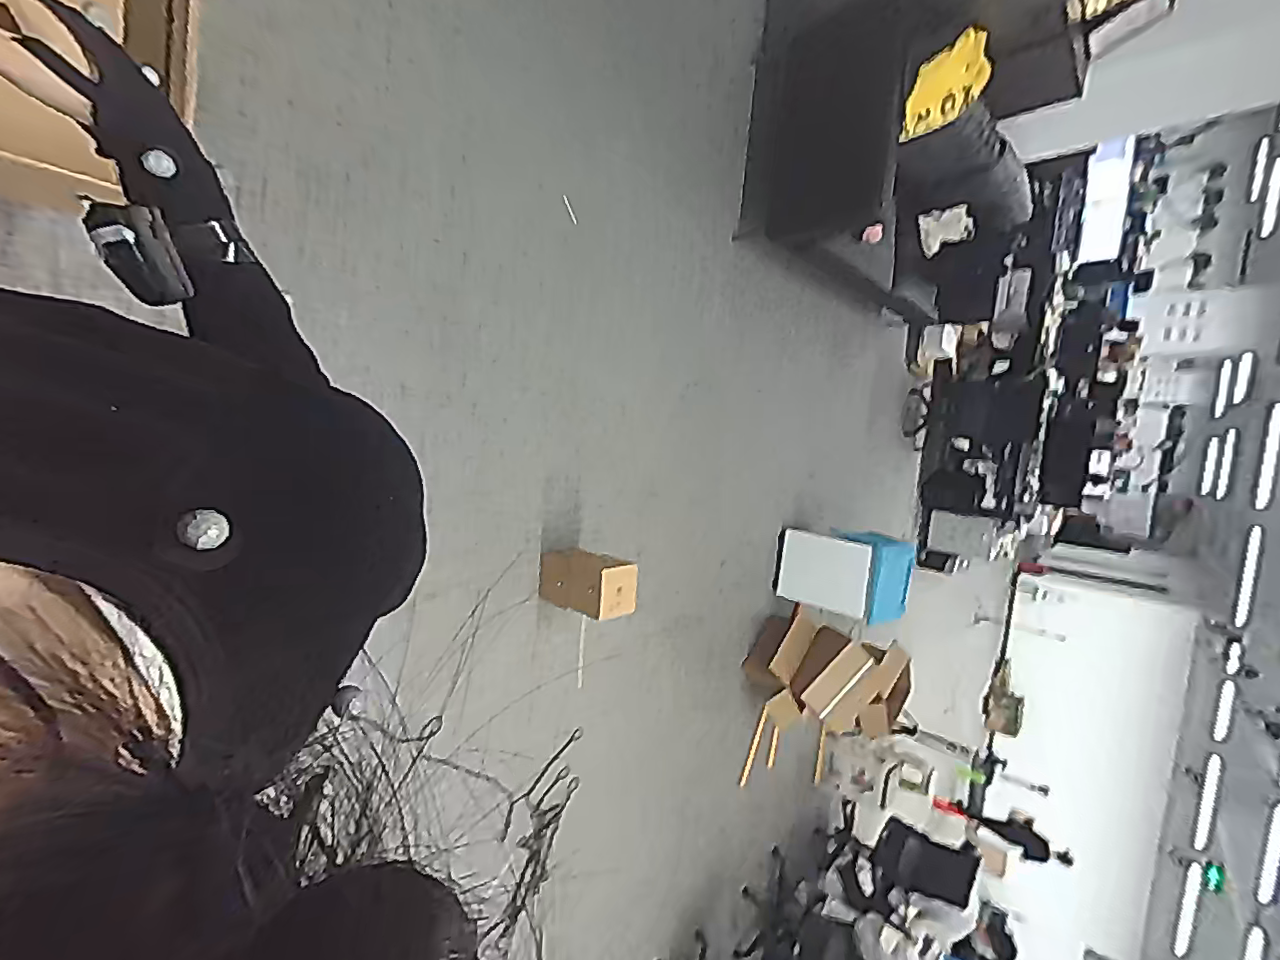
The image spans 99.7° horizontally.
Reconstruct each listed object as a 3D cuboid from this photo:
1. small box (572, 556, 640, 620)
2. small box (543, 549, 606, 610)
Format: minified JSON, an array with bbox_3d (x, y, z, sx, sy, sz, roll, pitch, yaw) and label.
[{"bbox_3d":[-0.118,0.360,1.849,0.168,0.176,0.179,-1,97,-46],"label":"small box"},{"bbox_3d":[-0.238,0.353,1.962,0.168,0.176,0.179,-1,98,-46],"label":"small box"}]
